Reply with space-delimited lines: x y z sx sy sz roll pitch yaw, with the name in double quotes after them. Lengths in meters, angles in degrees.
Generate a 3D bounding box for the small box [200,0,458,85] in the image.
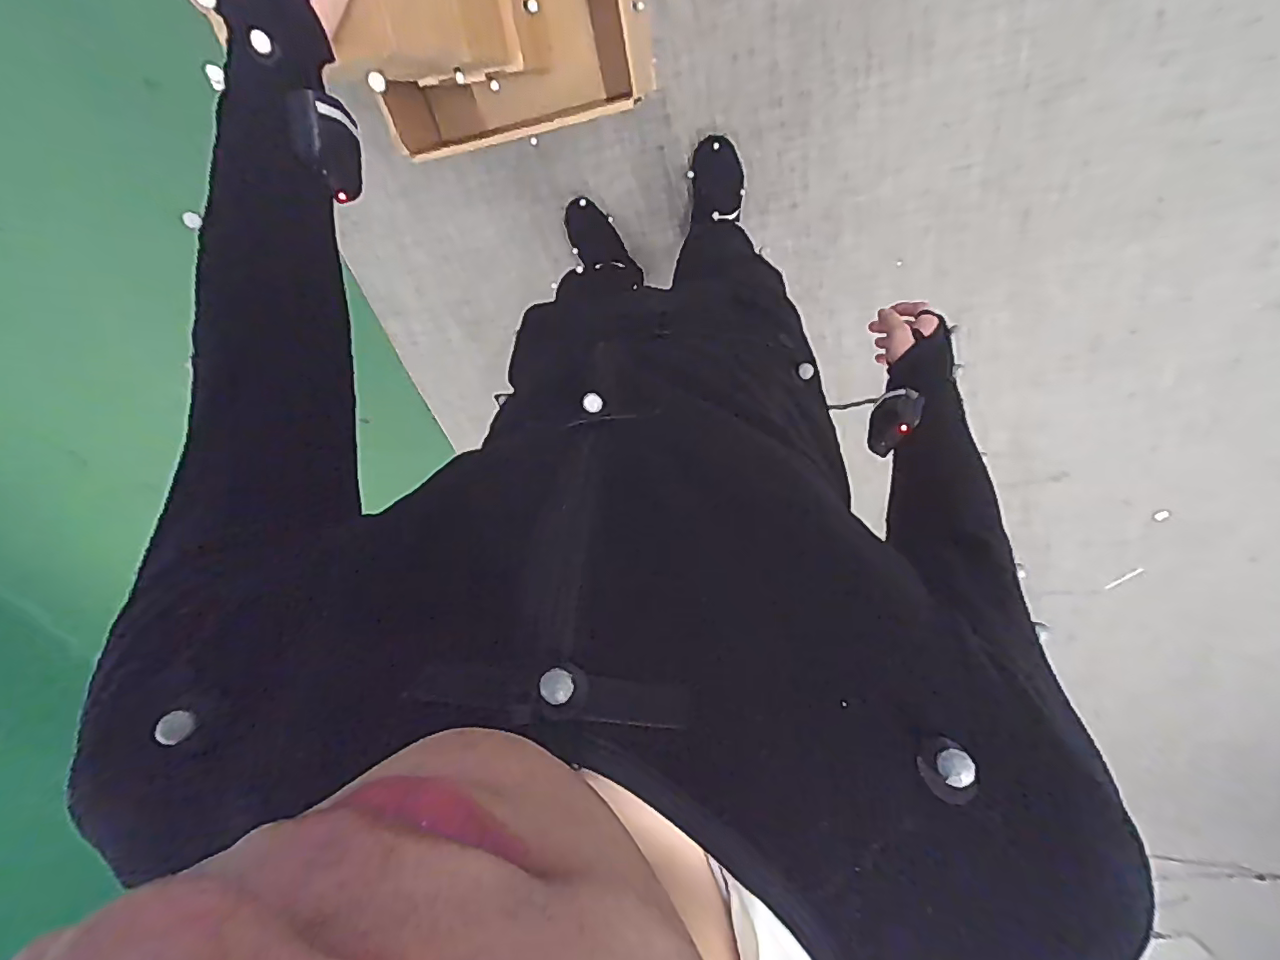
-0.298 -0.490 0.513 0.168 0.176 0.179 0 127 9 "small box"

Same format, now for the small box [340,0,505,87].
-0.277 -0.586 0.644 0.168 0.176 0.179 0 125 9 "small box"
